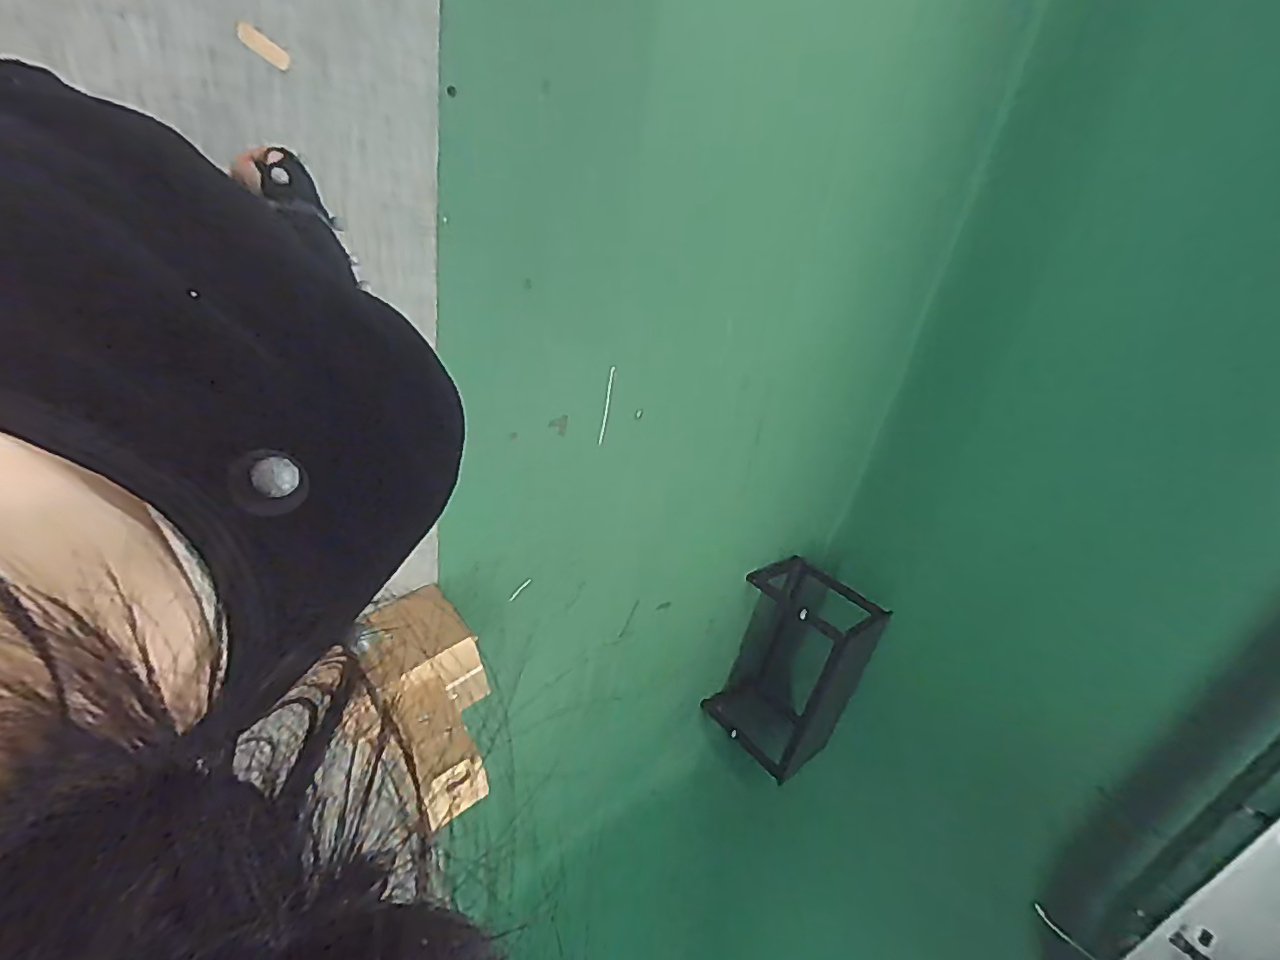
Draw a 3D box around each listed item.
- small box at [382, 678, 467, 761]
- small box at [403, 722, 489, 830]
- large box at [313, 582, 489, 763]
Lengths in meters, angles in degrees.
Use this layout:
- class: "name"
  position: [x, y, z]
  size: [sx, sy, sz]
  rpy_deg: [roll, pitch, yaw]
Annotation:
- class: "small box"
  position: [-0.637, 0.731, 1.609]
  size: [0.179, 0.176, 0.168]
  rpy_deg: [-23, 129, -33]
- class: "small box"
  position: [-0.540, 0.808, 1.501]
  size: [0.168, 0.176, 0.179]
  rpy_deg: [-21, 129, -34]
- class: "large box"
  position: [-0.772, 0.613, 1.778]
  size: [0.408, 0.320, 0.320]
  rpy_deg: [-27, 134, -32]
